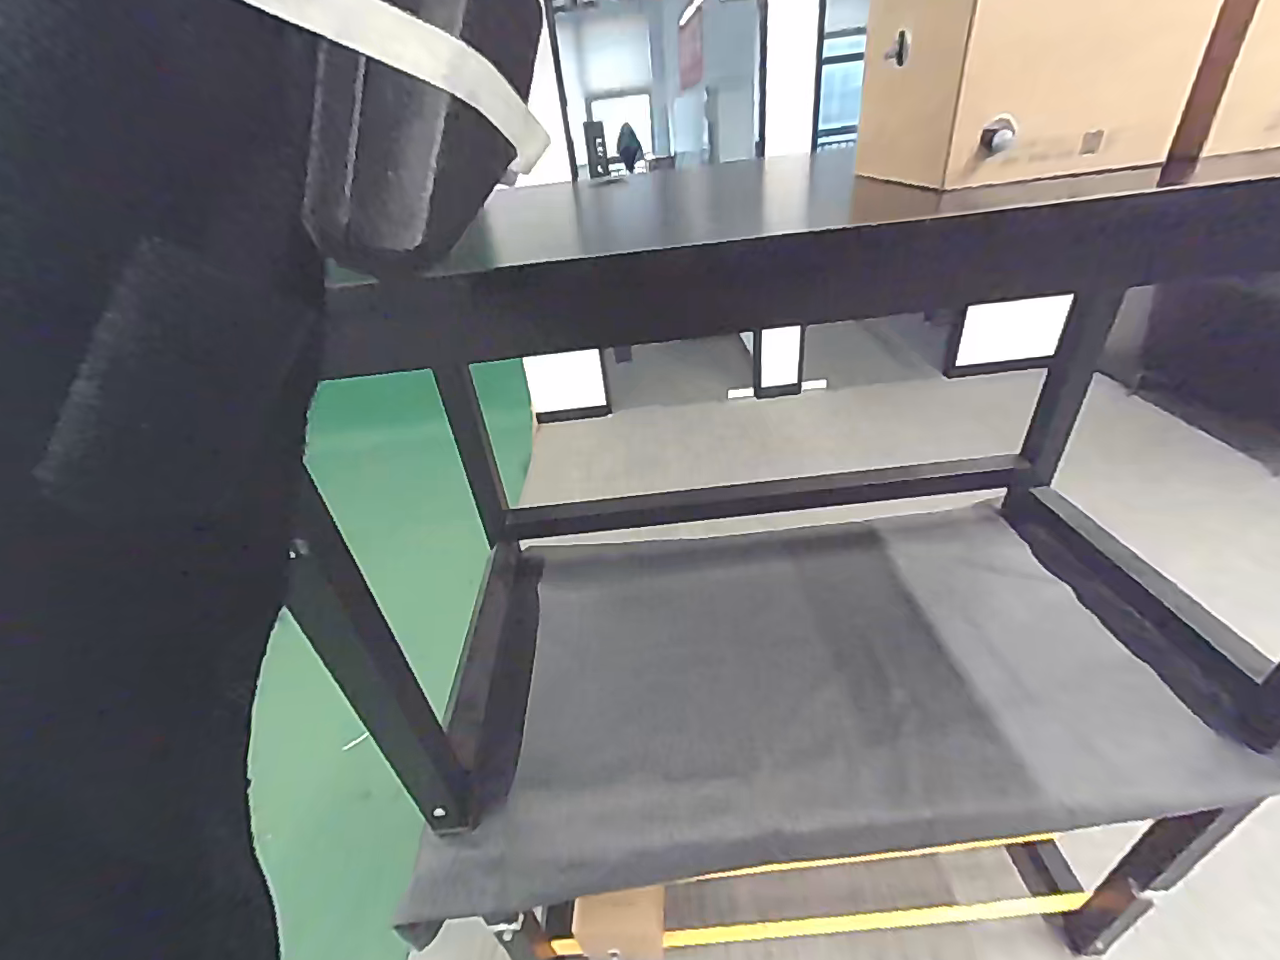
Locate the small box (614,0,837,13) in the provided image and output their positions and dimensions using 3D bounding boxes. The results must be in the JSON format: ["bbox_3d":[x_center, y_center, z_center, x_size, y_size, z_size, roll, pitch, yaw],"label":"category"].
[{"bbox_3d":[0.059,-0.270,0.165,0.168,0.176,0.179,-7,51,1],"label":"small box"}]
